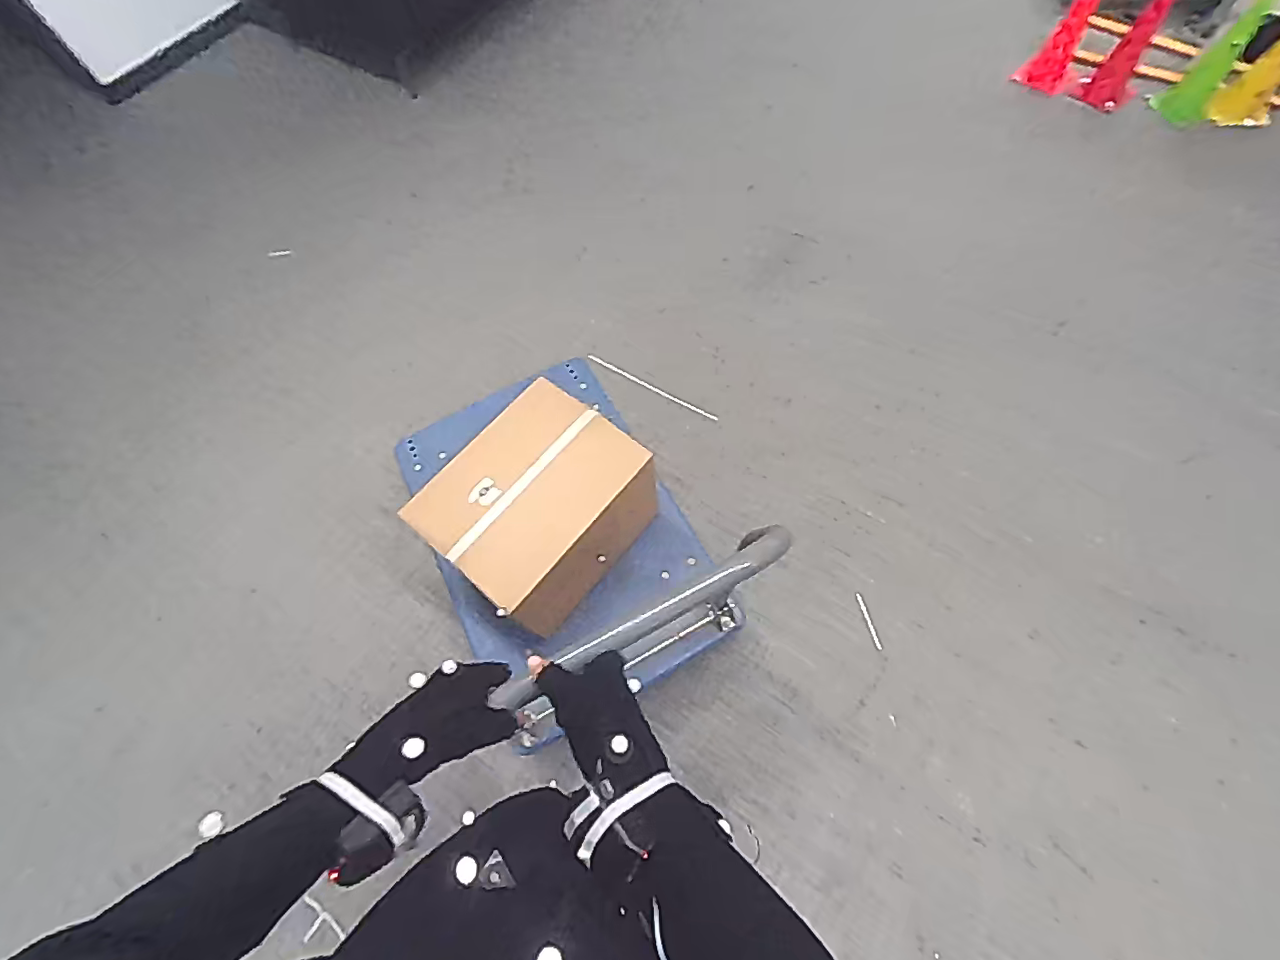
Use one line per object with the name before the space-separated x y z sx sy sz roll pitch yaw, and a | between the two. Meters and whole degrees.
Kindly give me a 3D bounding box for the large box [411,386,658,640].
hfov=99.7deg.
large box | -0.199 0.081 1.195 0.320 0.320 0.408 35 73 19
